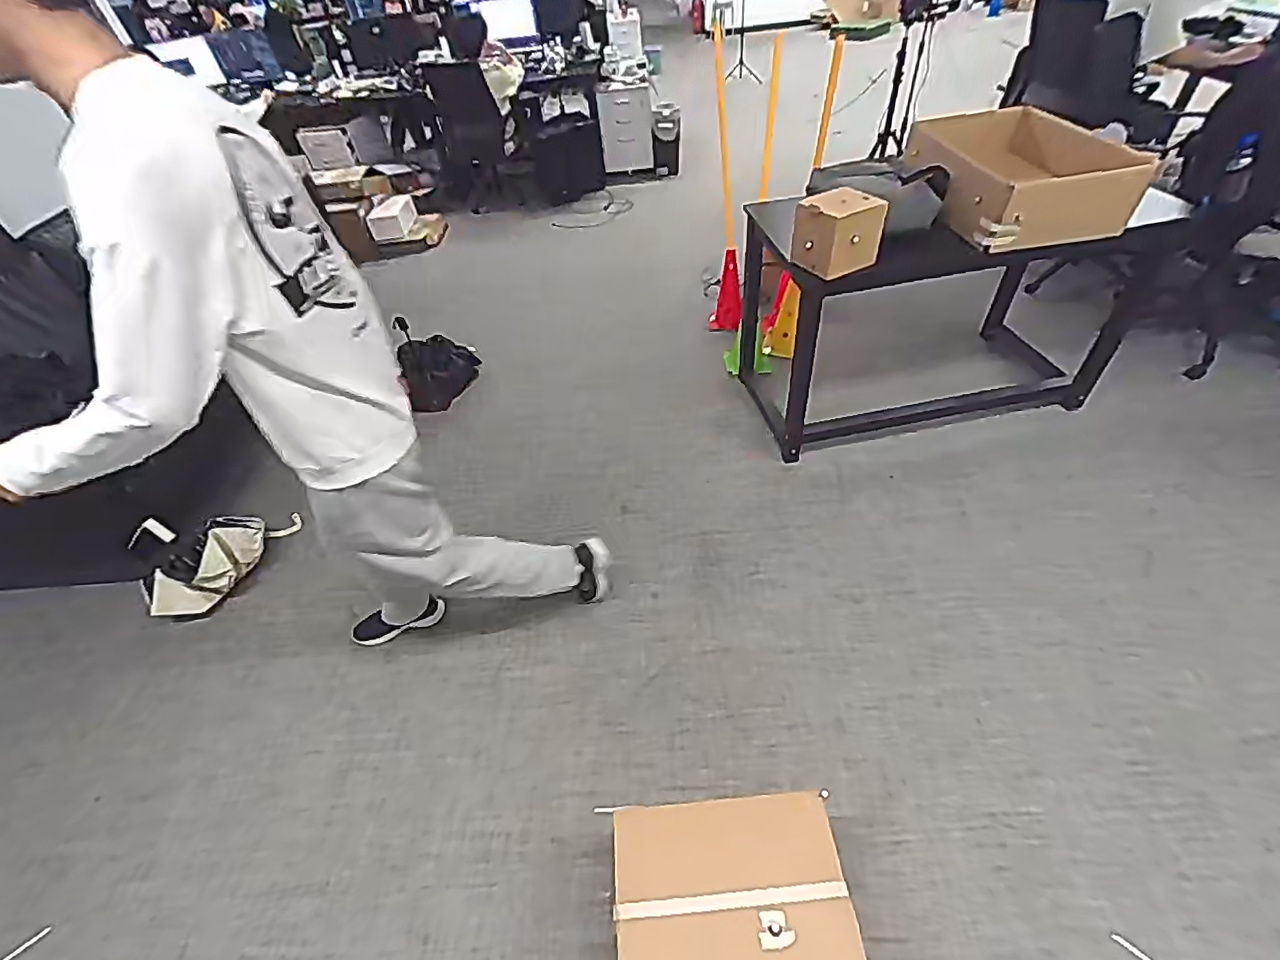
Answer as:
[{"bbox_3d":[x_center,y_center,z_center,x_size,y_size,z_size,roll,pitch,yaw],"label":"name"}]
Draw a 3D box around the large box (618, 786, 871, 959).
[{"bbox_3d":[0.180,0.829,1.047,0.408,0.320,0.320,-7,46,2],"label":"large box"}]
